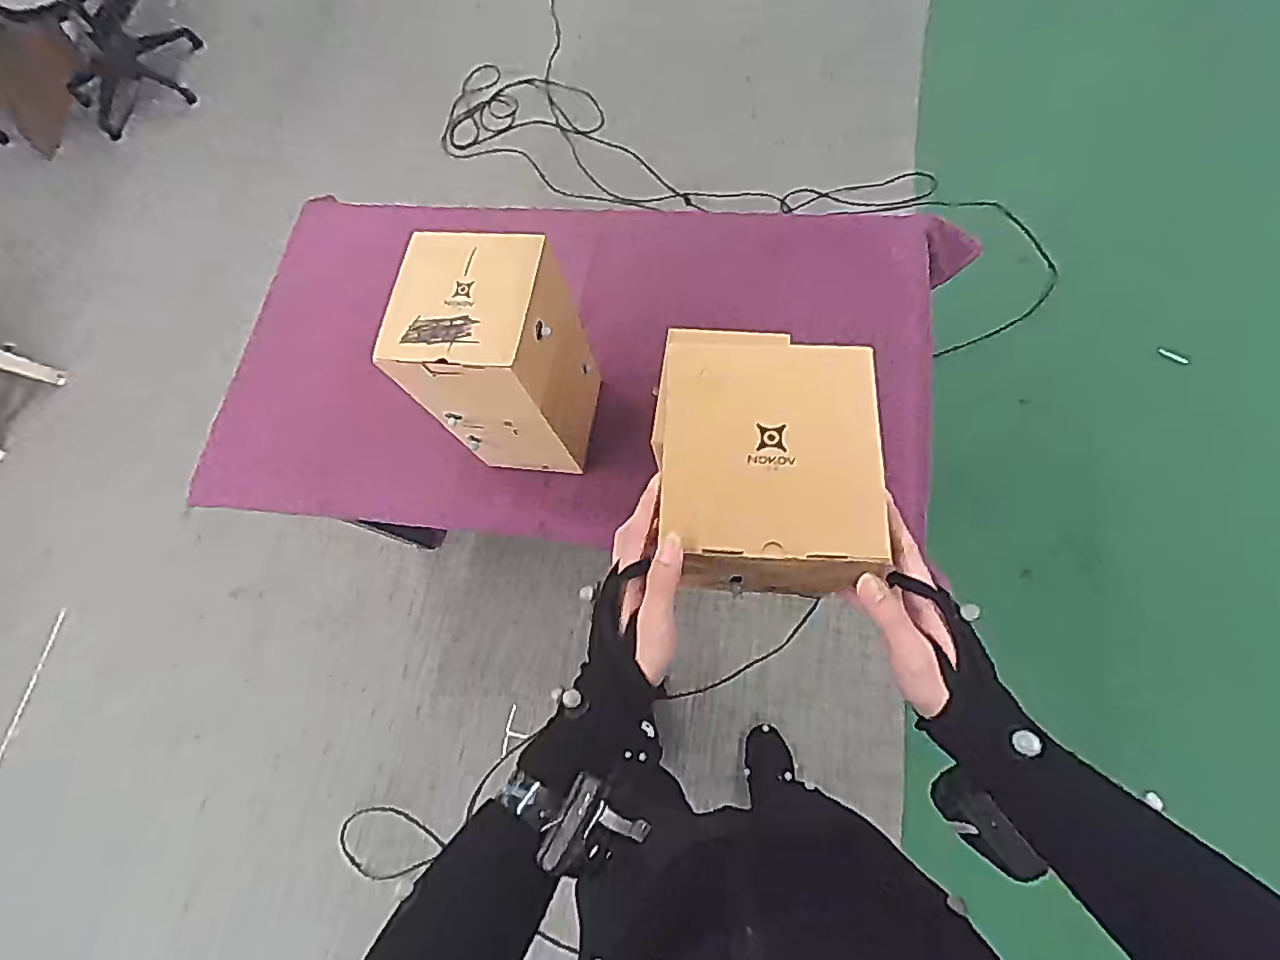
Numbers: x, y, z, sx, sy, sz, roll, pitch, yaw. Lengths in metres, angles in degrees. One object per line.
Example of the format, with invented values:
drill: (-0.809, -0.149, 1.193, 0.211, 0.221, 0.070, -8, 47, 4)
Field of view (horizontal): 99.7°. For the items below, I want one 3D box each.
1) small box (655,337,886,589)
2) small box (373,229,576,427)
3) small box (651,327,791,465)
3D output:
small box: (0.101, -0.005, 0.486, 0.168, 0.176, 0.179, 3, 72, 3)
small box: (-0.187, -0.179, 0.671, 0.168, 0.176, 0.179, 7, 71, 9)
small box: (0.116, -0.093, 0.778, 0.168, 0.176, 0.179, 7, 72, 10)
